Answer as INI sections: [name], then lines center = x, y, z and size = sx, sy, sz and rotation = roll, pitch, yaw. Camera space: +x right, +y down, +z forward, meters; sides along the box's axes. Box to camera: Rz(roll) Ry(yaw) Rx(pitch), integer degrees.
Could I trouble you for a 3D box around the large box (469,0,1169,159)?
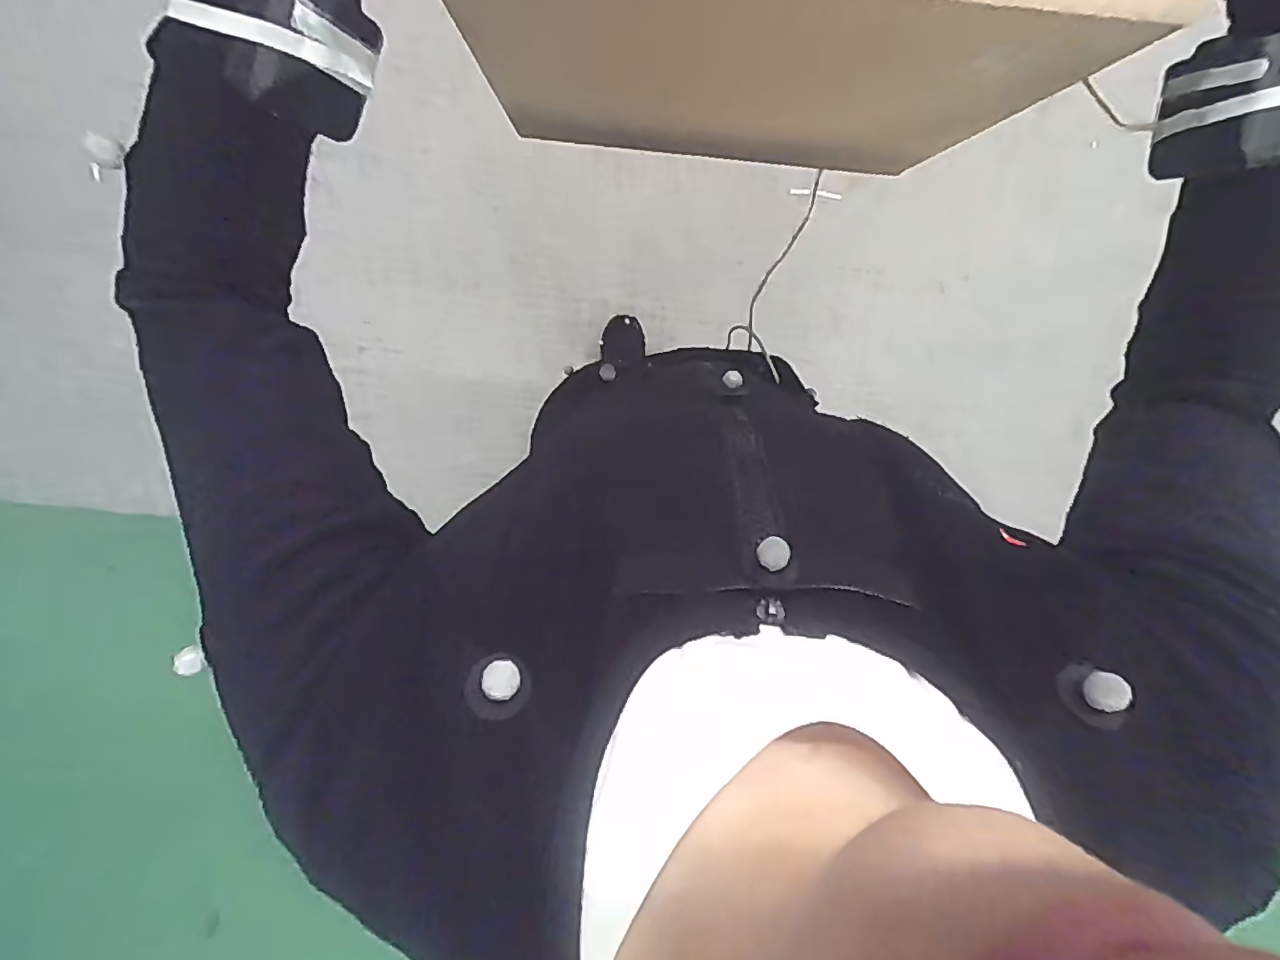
[large box]
center = 0.093, -0.451, 0.380
size = 0.408, 0.320, 0.320
rotation = 3, 107, -4
